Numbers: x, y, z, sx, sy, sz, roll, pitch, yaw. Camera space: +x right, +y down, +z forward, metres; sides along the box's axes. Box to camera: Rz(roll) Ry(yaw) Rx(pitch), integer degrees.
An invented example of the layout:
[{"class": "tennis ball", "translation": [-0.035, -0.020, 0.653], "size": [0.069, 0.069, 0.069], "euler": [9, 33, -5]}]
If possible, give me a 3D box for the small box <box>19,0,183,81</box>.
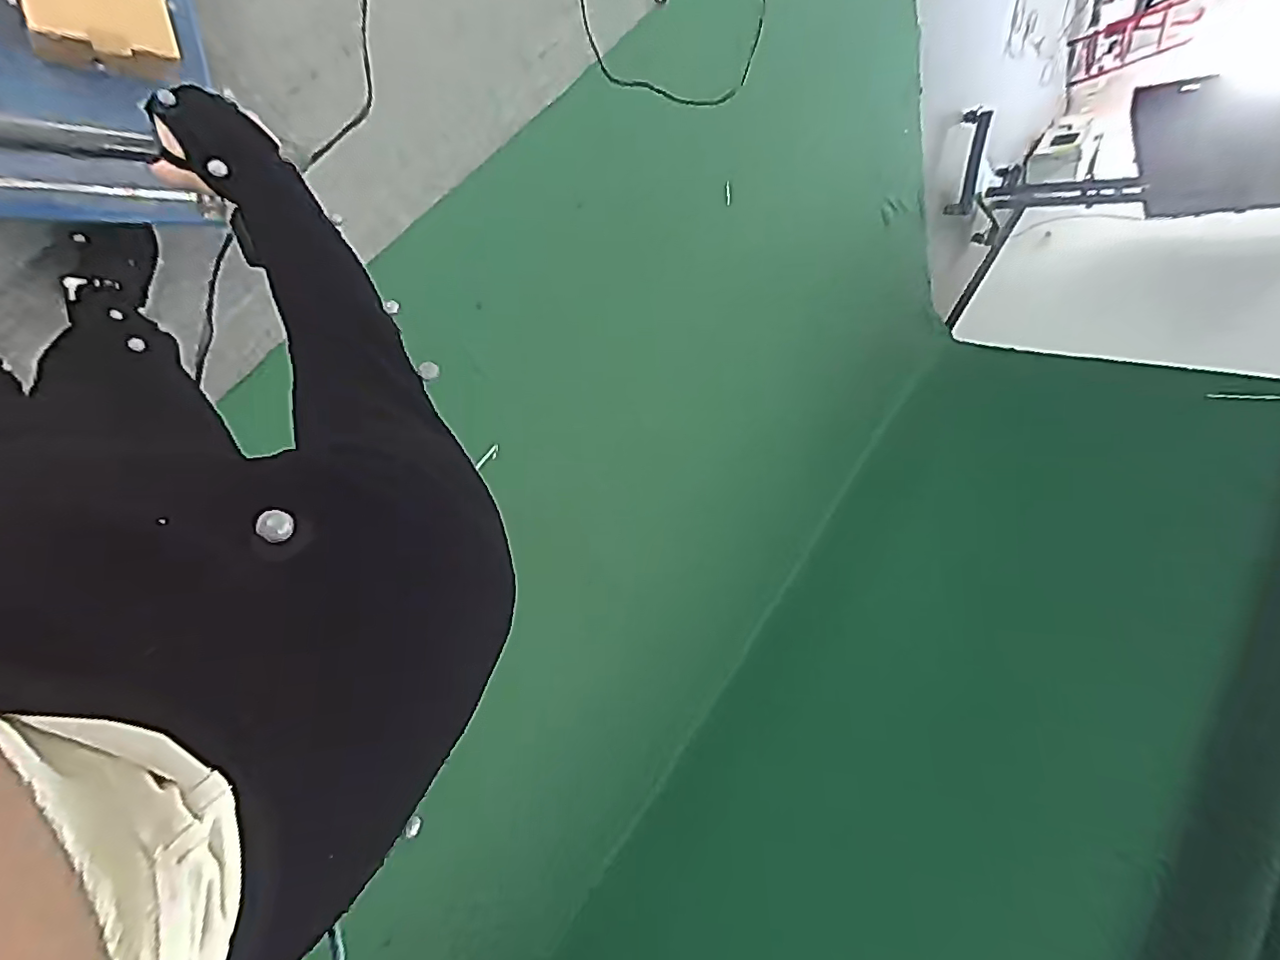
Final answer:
[{"class": "small box", "translation": [-0.841, -0.746, 0.827], "size": [0.168, 0.176, 0.179], "euler": [-20, 121, -40]}]
